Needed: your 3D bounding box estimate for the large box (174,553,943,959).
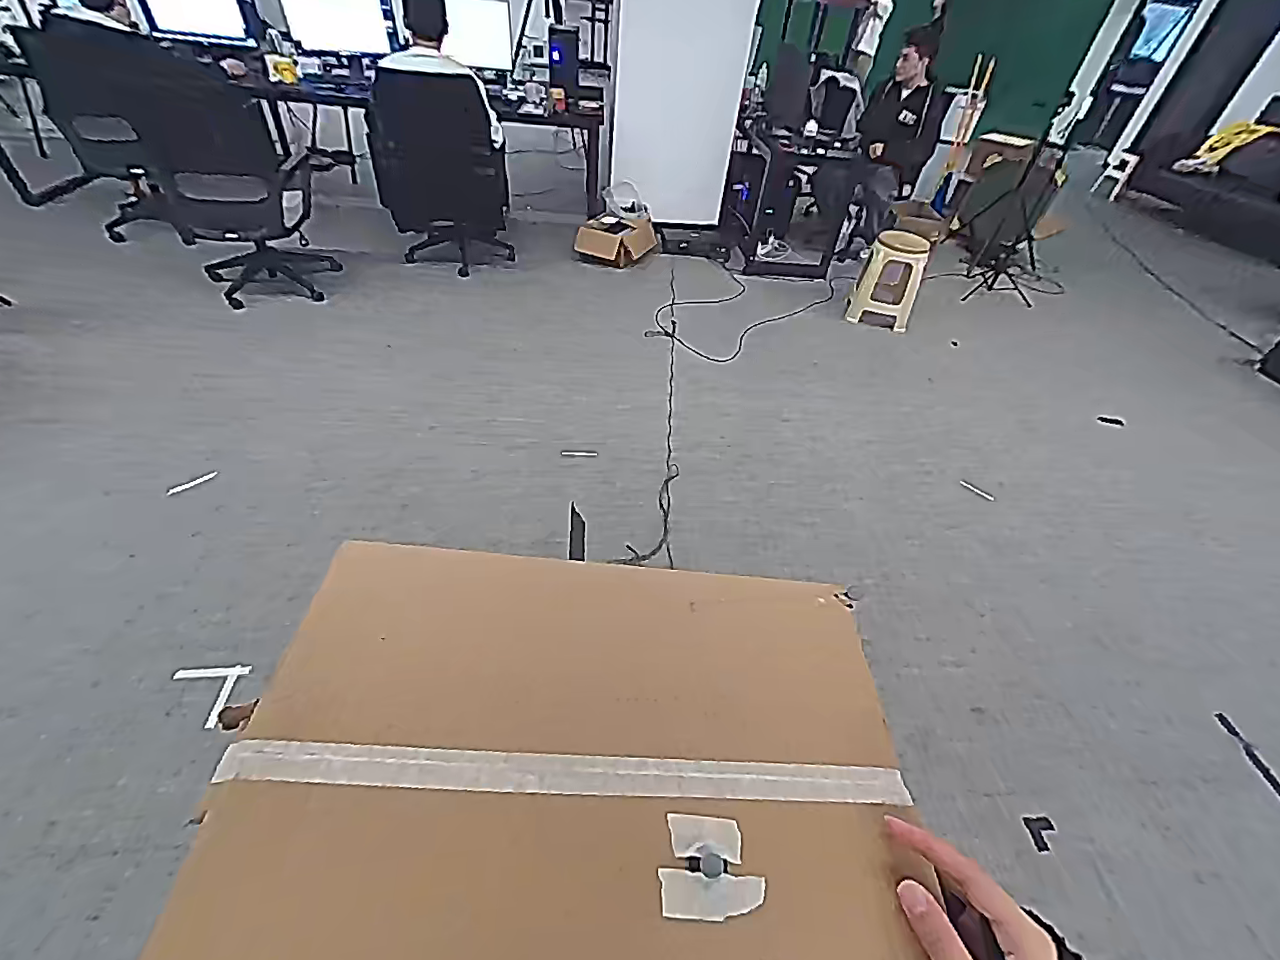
[{"bbox_3d":[-0.052,0.288,0.445,0.408,0.320,0.320,7,46,-7],"label":"large box"}]
